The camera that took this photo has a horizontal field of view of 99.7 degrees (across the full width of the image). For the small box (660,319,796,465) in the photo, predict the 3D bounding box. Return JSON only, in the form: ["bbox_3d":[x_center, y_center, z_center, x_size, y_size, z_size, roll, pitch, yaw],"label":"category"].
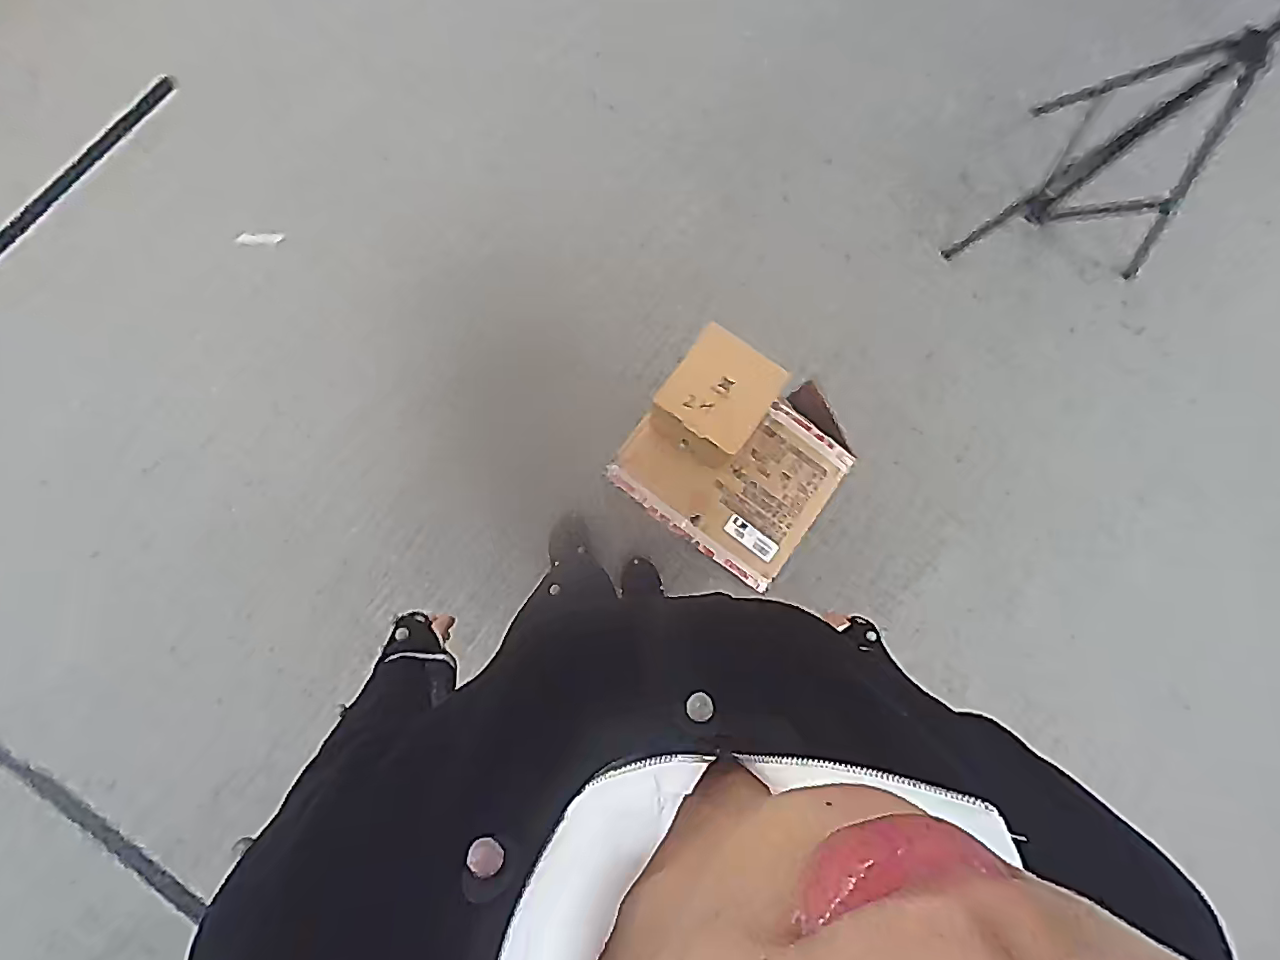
[{"bbox_3d":[0.146,-0.148,0.977,0.168,0.176,0.179,36,85,4],"label":"small box"}]
